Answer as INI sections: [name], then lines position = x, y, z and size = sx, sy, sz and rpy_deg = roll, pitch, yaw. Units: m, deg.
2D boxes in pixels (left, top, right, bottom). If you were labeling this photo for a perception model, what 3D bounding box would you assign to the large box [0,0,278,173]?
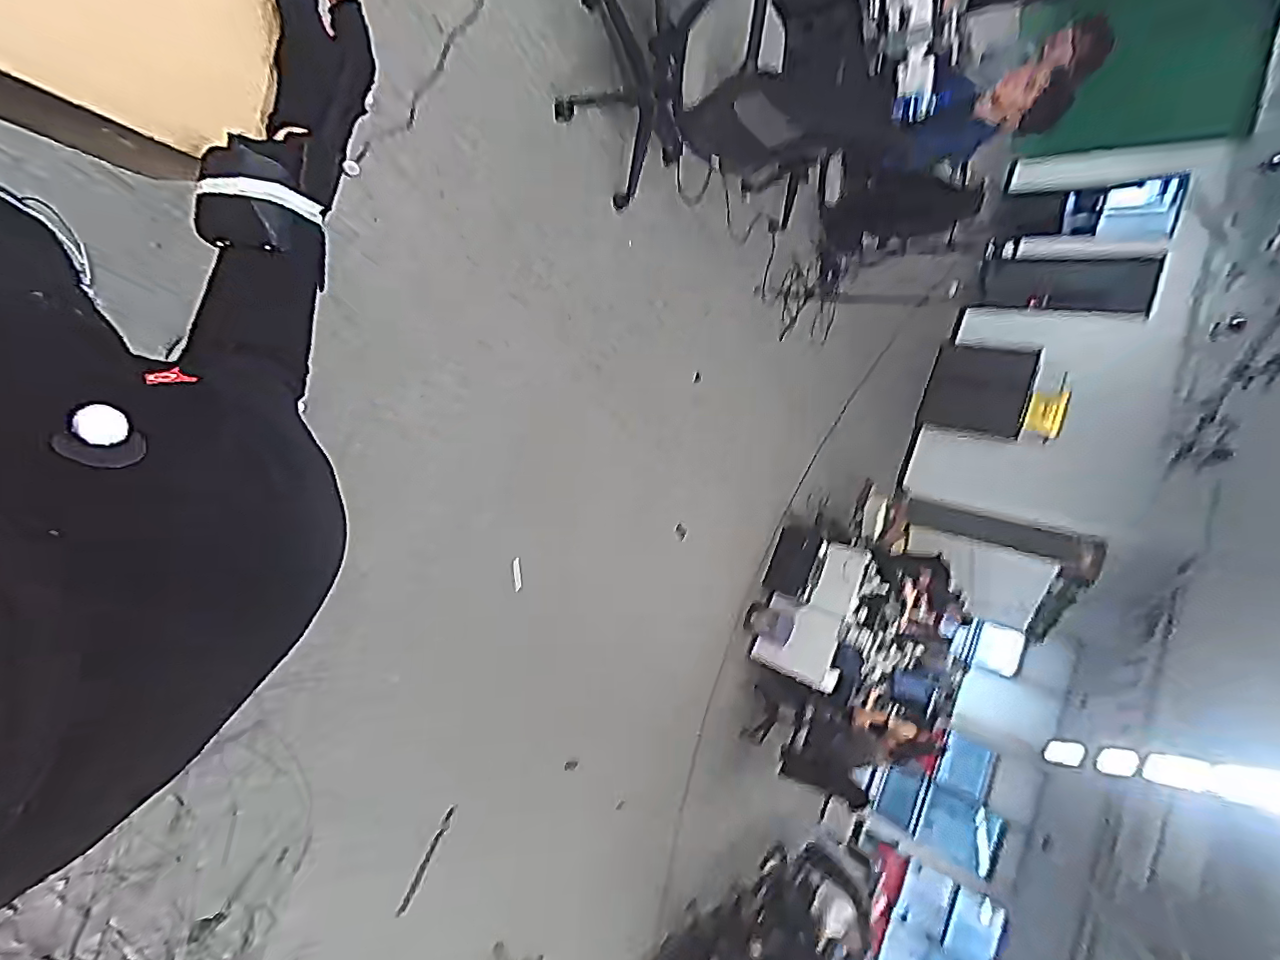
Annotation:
[large box]
position = -0.497, -0.438, 0.325
size = 0.408, 0.320, 0.320
rpy_deg = 5, 105, -56
